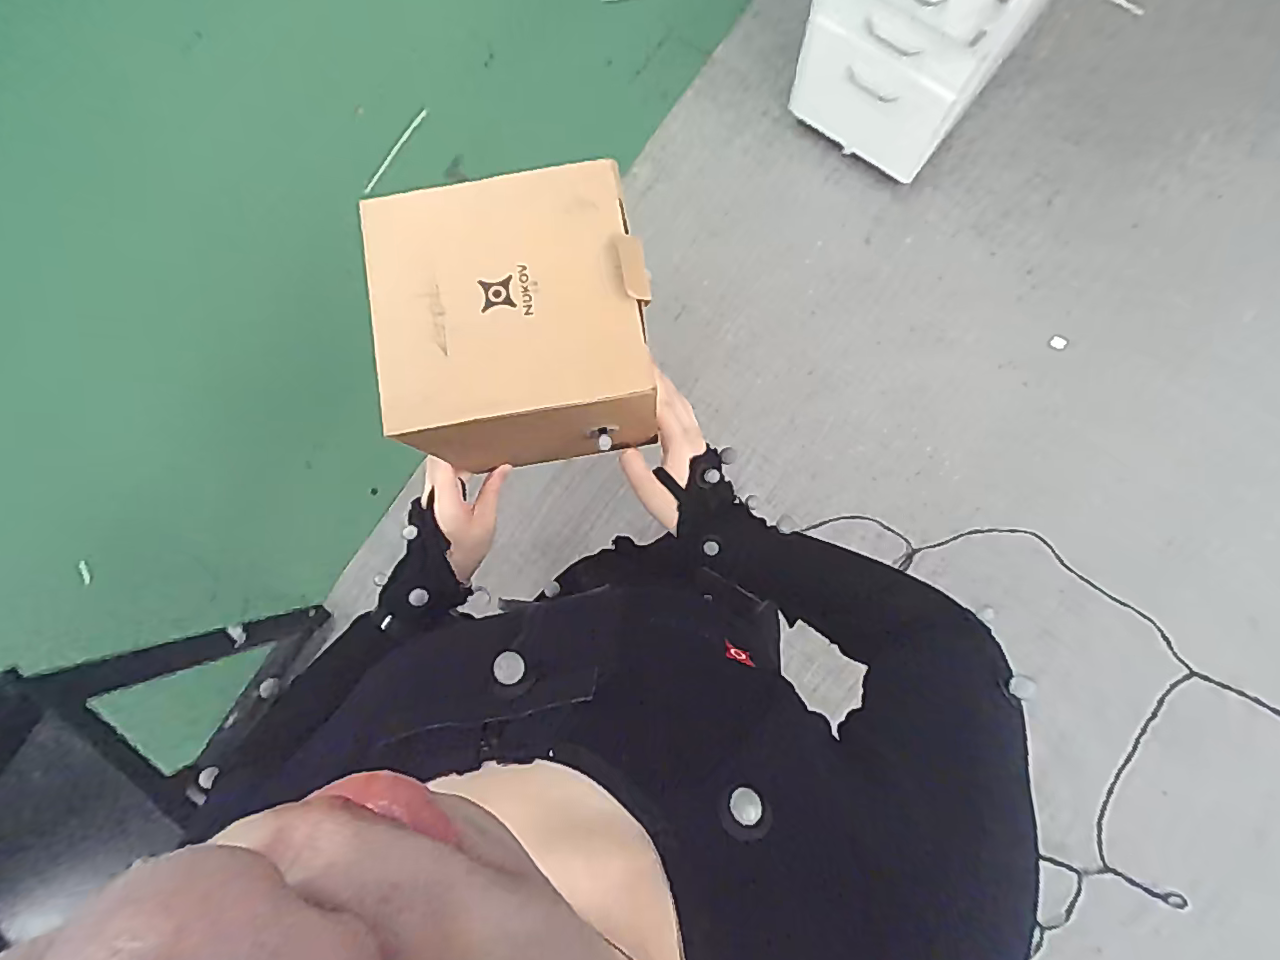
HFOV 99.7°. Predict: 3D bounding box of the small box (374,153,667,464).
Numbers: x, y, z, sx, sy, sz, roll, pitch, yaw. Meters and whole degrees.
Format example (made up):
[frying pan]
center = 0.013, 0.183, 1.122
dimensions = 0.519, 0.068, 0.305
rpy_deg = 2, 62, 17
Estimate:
[small box]
center = -0.078, -0.115, 0.430
dimensions = 0.179, 0.176, 0.168
rpy_deg = -10, 82, 2
